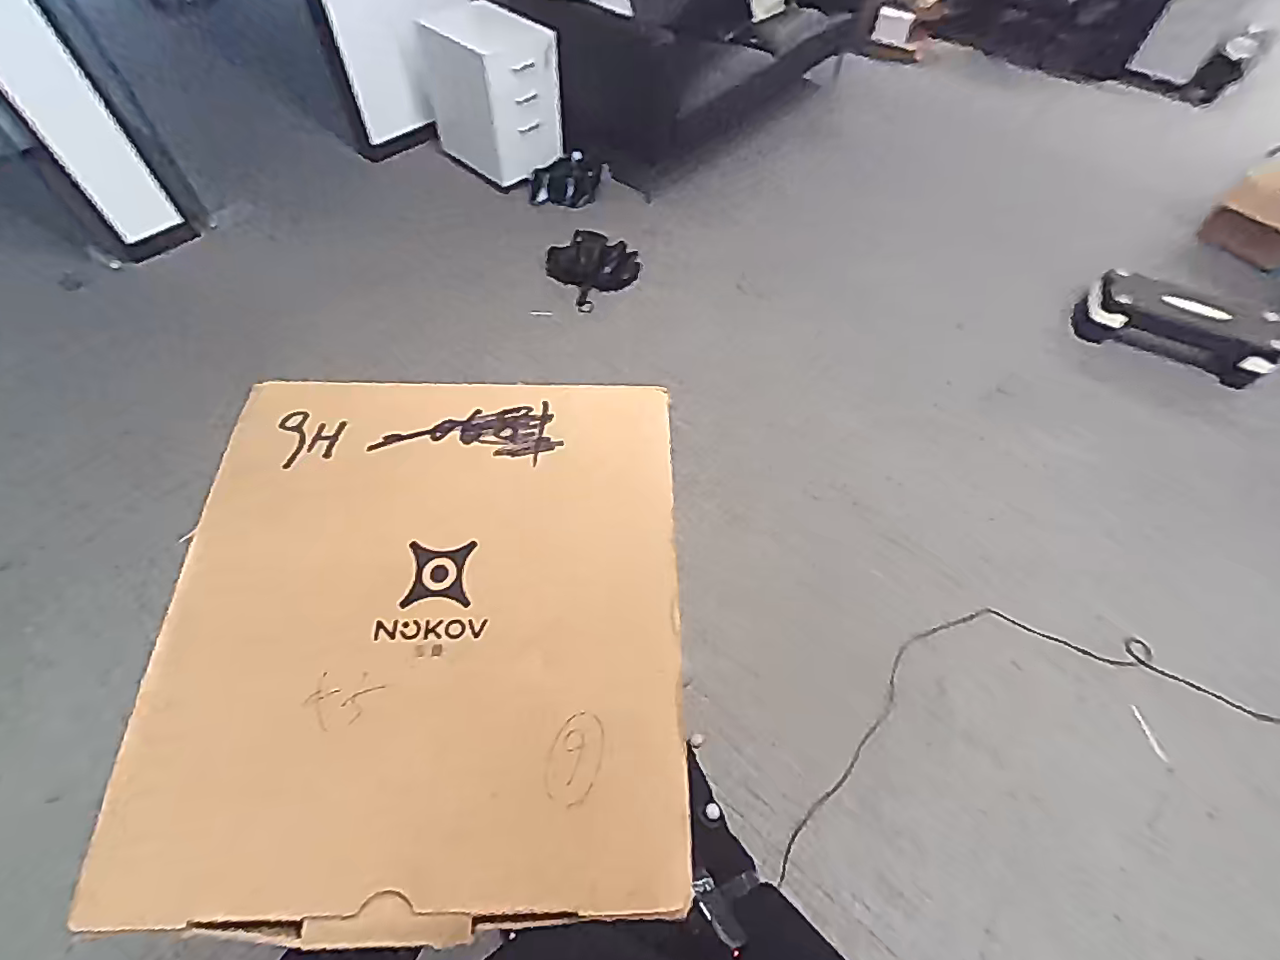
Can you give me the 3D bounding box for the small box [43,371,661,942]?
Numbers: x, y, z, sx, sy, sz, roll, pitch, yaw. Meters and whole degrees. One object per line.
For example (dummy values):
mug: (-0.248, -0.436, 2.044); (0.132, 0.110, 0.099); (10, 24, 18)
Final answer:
small box: (-0.077, 0.071, 0.249); (0.168, 0.176, 0.179); (1, 66, -3)
